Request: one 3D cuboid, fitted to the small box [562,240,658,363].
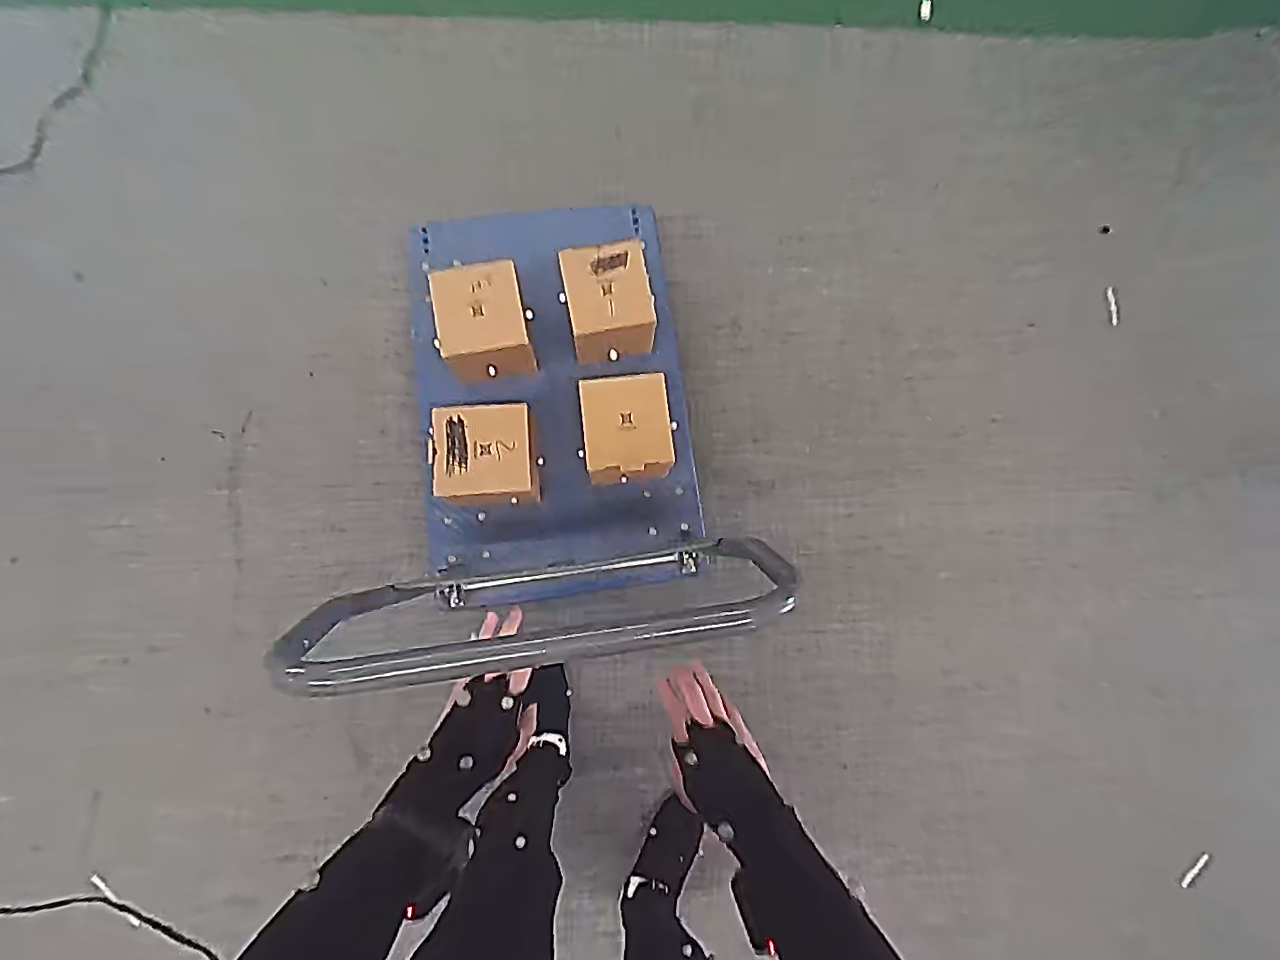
[{"bbox_3d":[-0.063,-0.364,1.125,0.168,0.176,0.179,-11,83,-4],"label":"small box"}]

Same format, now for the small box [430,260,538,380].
[{"bbox_3d":[-0.309,-0.315,1.103,0.168,0.176,0.179,-10,82,-6],"label":"small box"}]

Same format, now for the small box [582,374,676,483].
[{"bbox_3d":[-0.027,-0.098,1.088,0.168,0.176,0.179,-6,82,-5],"label":"small box"}]
